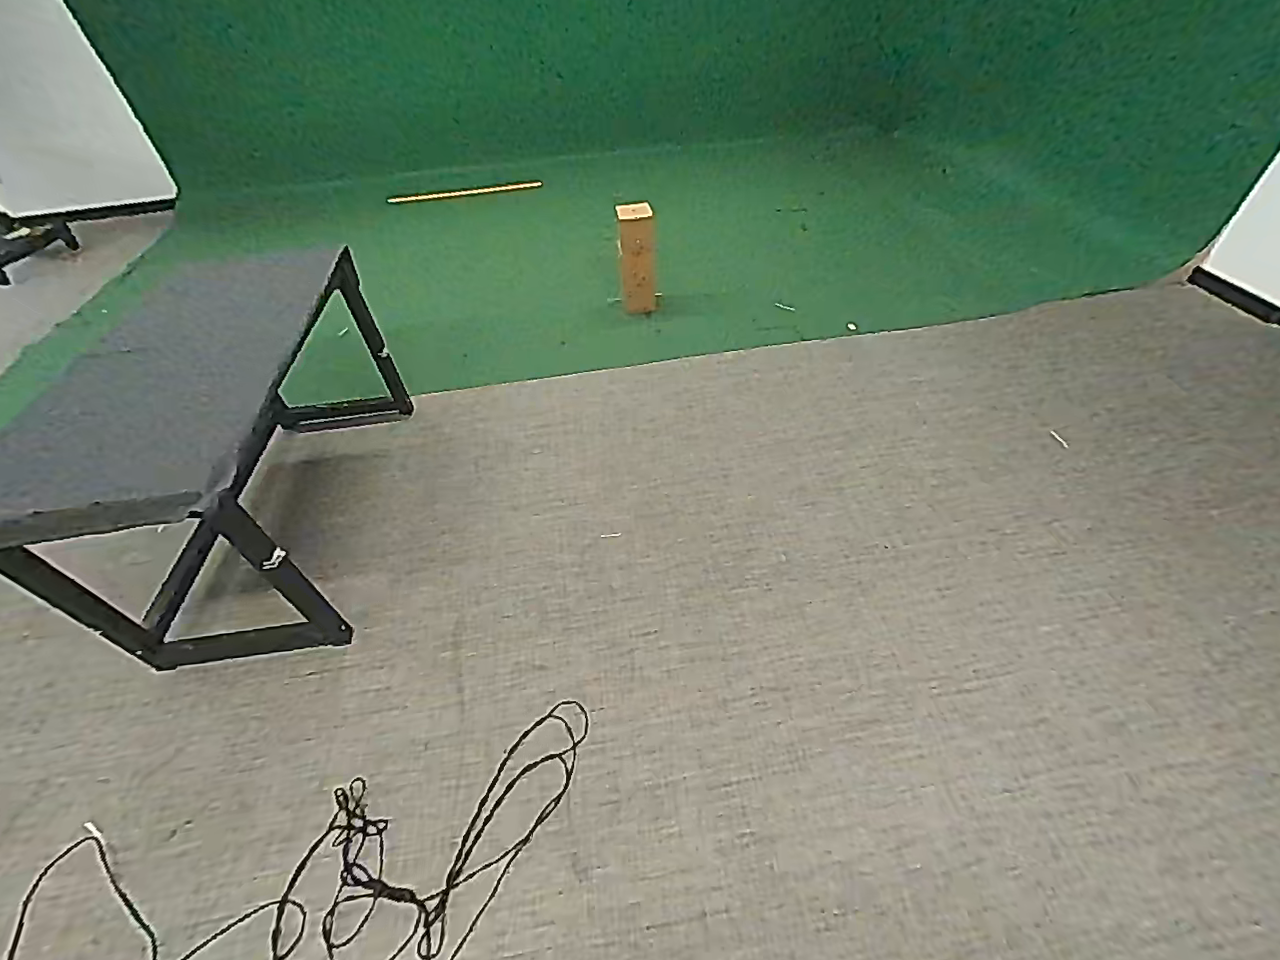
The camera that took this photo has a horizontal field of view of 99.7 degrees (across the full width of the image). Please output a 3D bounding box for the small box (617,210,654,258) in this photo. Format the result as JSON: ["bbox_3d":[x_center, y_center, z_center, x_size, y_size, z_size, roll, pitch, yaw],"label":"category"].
[{"bbox_3d":[-0.022,-1.231,2.703,0.168,0.176,0.179,-7,46,-4],"label":"small box"}]

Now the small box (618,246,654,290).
[{"bbox_3d":[-0.022,-1.111,2.816,0.168,0.176,0.179,-8,46,-5],"label":"small box"}]
